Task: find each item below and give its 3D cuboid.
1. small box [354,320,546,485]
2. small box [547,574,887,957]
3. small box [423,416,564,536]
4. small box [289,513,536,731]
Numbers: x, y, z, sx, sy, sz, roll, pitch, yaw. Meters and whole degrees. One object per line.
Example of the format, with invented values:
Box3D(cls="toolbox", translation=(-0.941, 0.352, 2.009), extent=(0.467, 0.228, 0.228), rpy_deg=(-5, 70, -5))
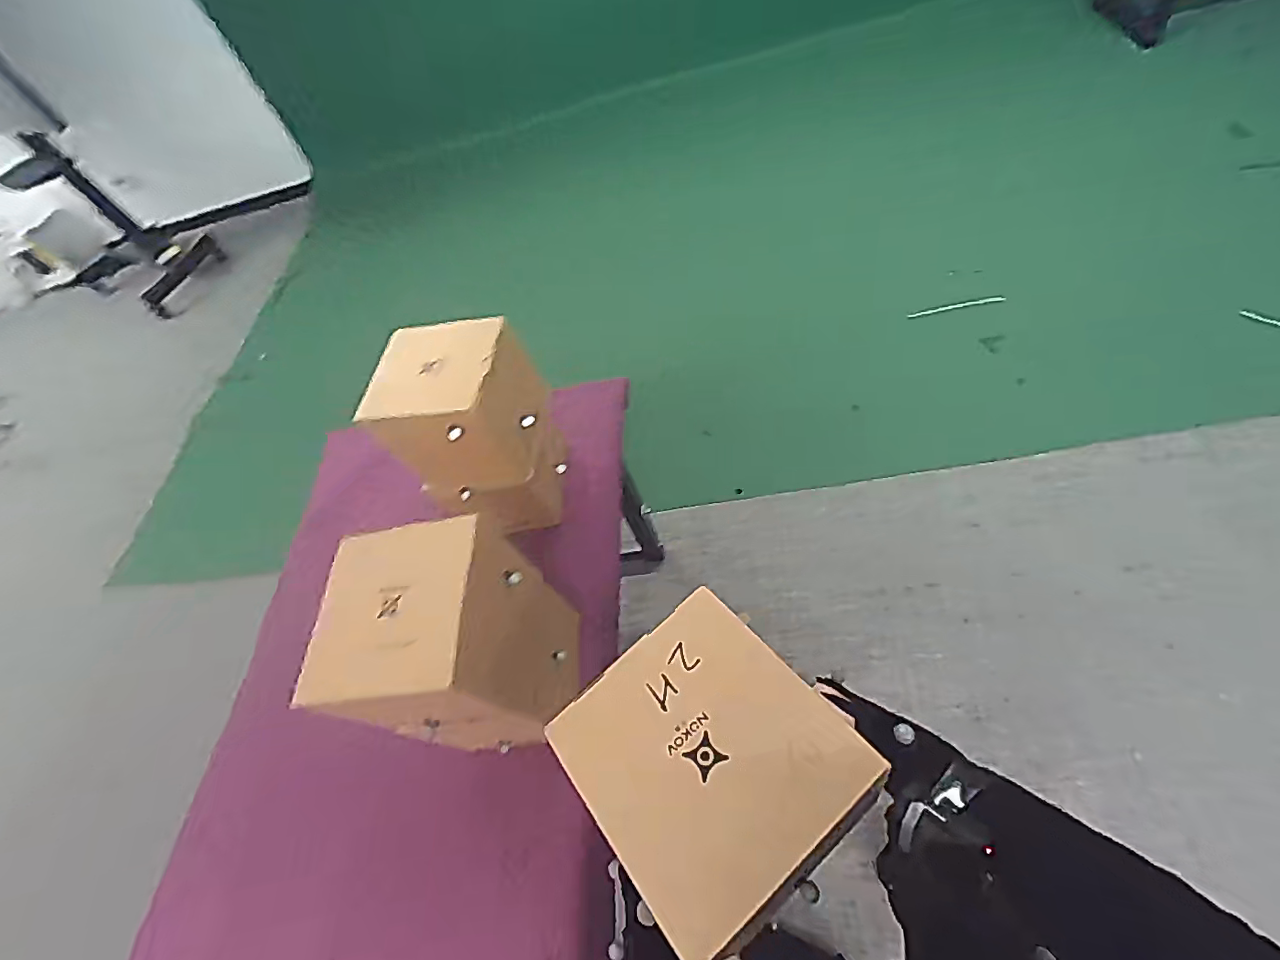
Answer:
Box3D(cls="small box", translation=(-0.260, -0.103, 0.782), extent=(0.179, 0.176, 0.168), rpy_deg=(-3, 57, 15))
Box3D(cls="small box", translation=(0.064, 0.214, 0.424), extent=(0.168, 0.176, 0.179), rpy_deg=(-39, 50, -11))
Box3D(cls="small box", translation=(-0.237, -0.023, 0.925), extent=(0.168, 0.176, 0.179), rpy_deg=(-11, 54, 12))
Box3D(cls="small box", translation=(-0.225, 0.161, 0.590), extent=(0.168, 0.176, 0.179), rpy_deg=(-10, 55, 13))
